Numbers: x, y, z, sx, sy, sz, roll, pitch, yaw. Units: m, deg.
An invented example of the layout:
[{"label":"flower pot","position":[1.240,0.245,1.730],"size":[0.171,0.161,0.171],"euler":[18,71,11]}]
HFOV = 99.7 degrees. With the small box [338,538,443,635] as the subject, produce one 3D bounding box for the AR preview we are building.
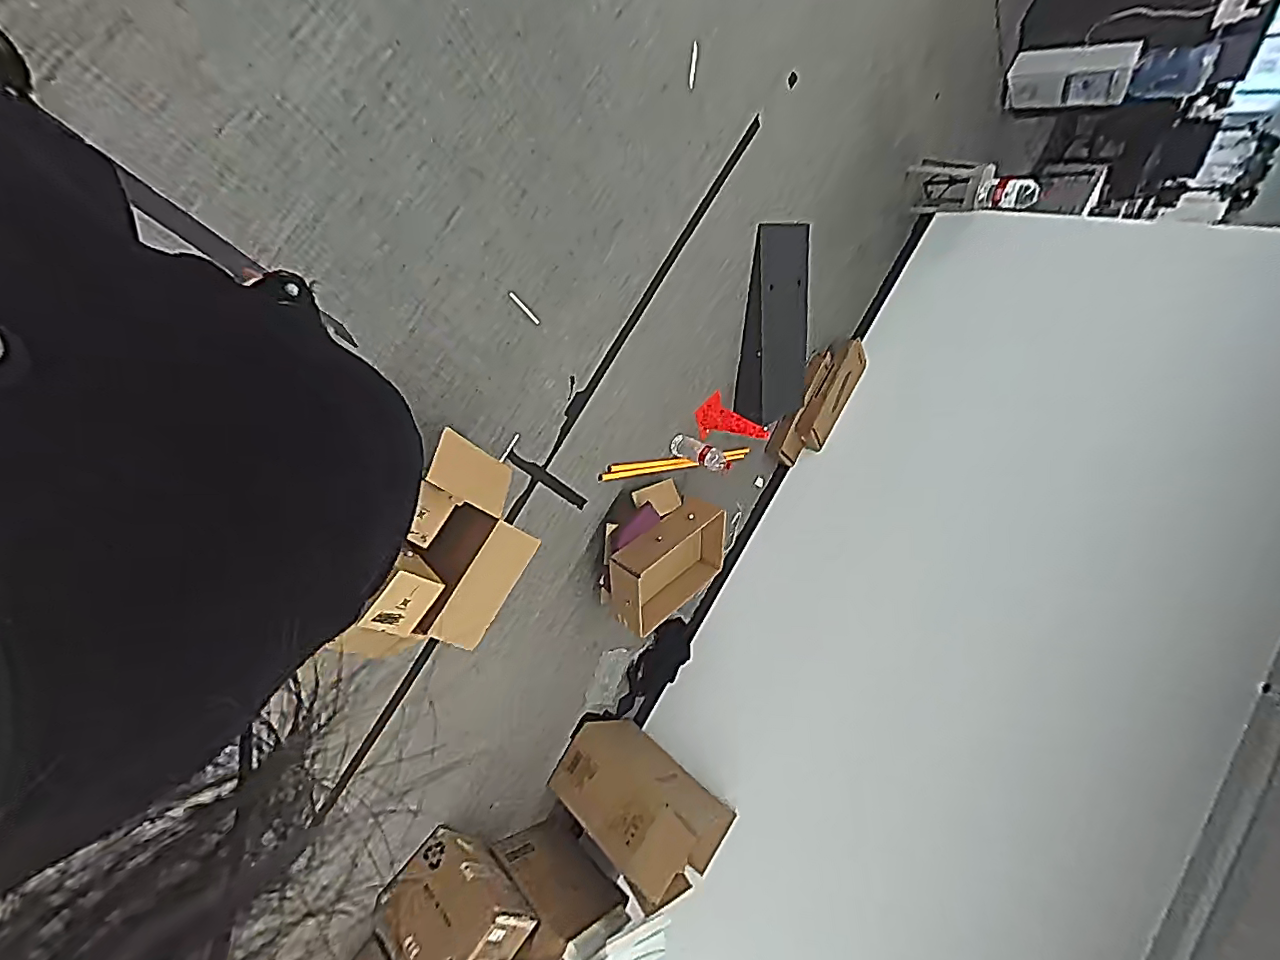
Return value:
[{"label":"small box","position":[-0.683,0.288,1.468],"size":[0.179,0.176,0.168],"euler":[-54,145,-7]}]
